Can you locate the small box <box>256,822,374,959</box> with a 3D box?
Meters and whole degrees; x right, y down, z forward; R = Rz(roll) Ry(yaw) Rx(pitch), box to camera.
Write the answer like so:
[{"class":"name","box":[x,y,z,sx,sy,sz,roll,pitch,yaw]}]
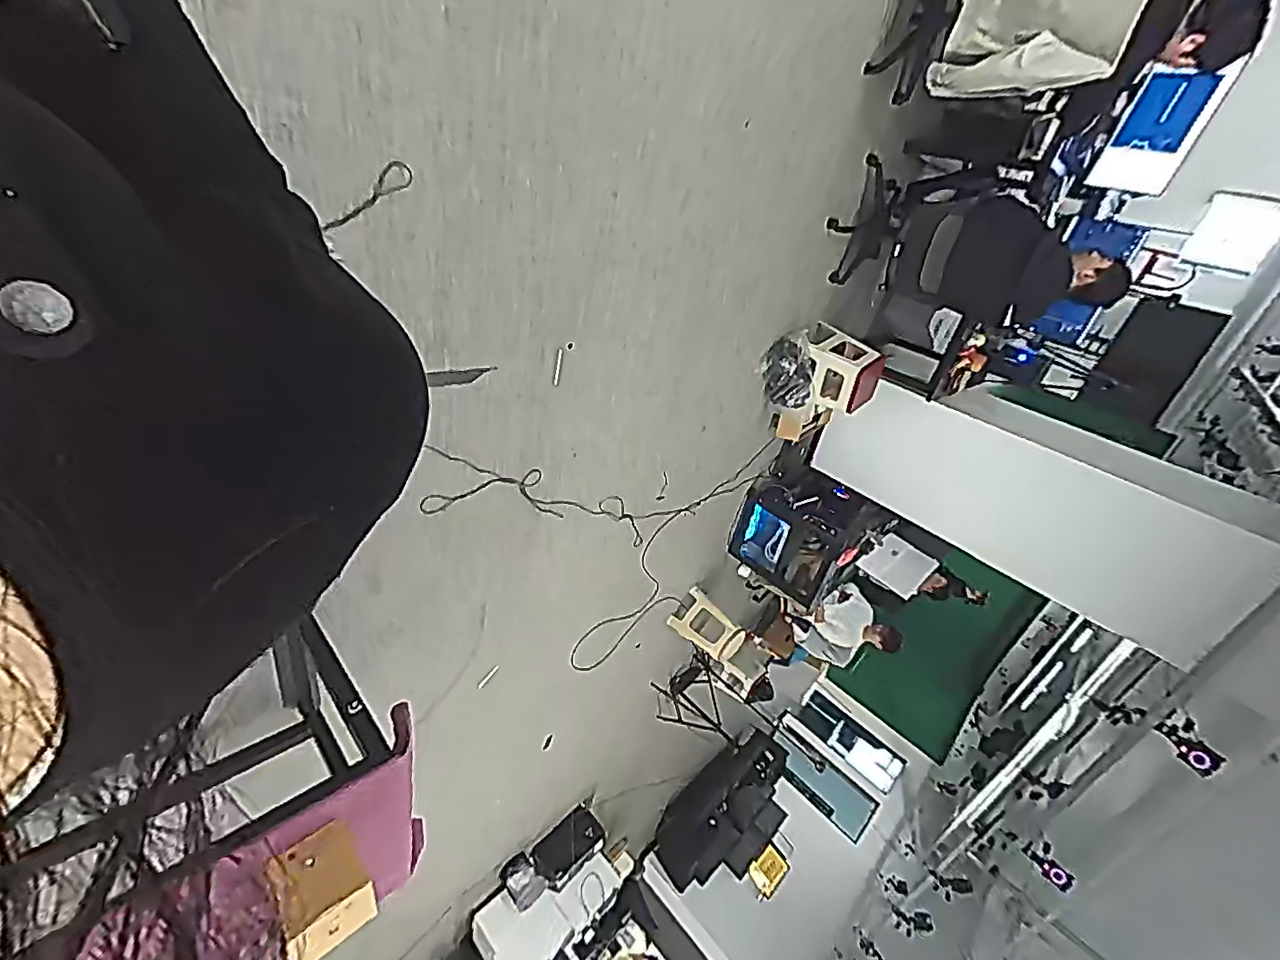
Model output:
[{"class":"small box","box":[-0.696,0.887,1.162,0.168,0.176,0.179,-22,135,-42]}]
